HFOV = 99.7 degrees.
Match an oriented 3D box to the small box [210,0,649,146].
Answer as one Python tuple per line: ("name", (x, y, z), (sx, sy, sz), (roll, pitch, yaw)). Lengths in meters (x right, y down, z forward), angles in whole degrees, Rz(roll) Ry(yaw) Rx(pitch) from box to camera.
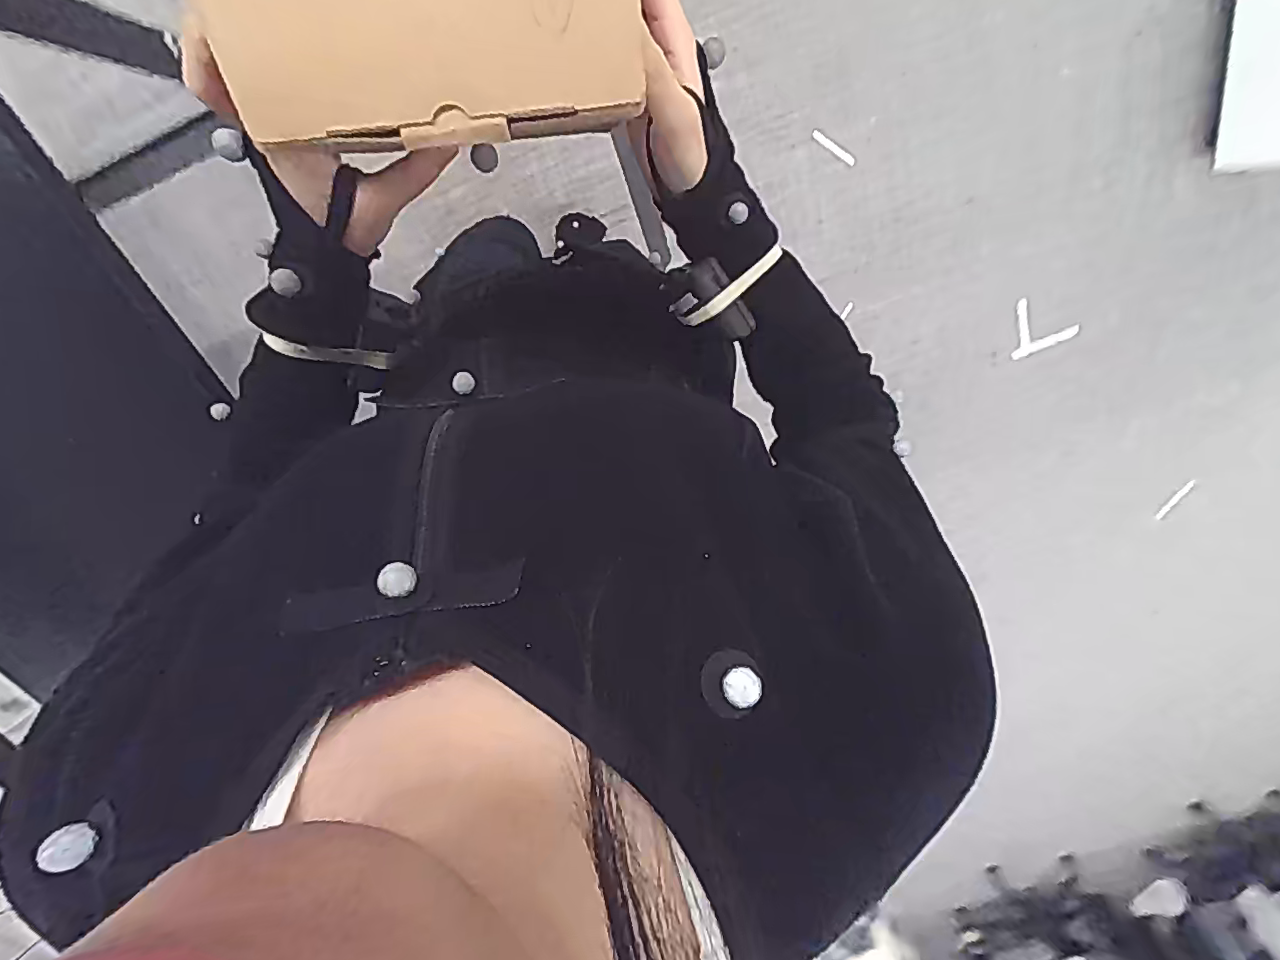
("small box", (-0.089, -0.263, 0.250), (0.168, 0.176, 0.179), (-7, 122, -4))
